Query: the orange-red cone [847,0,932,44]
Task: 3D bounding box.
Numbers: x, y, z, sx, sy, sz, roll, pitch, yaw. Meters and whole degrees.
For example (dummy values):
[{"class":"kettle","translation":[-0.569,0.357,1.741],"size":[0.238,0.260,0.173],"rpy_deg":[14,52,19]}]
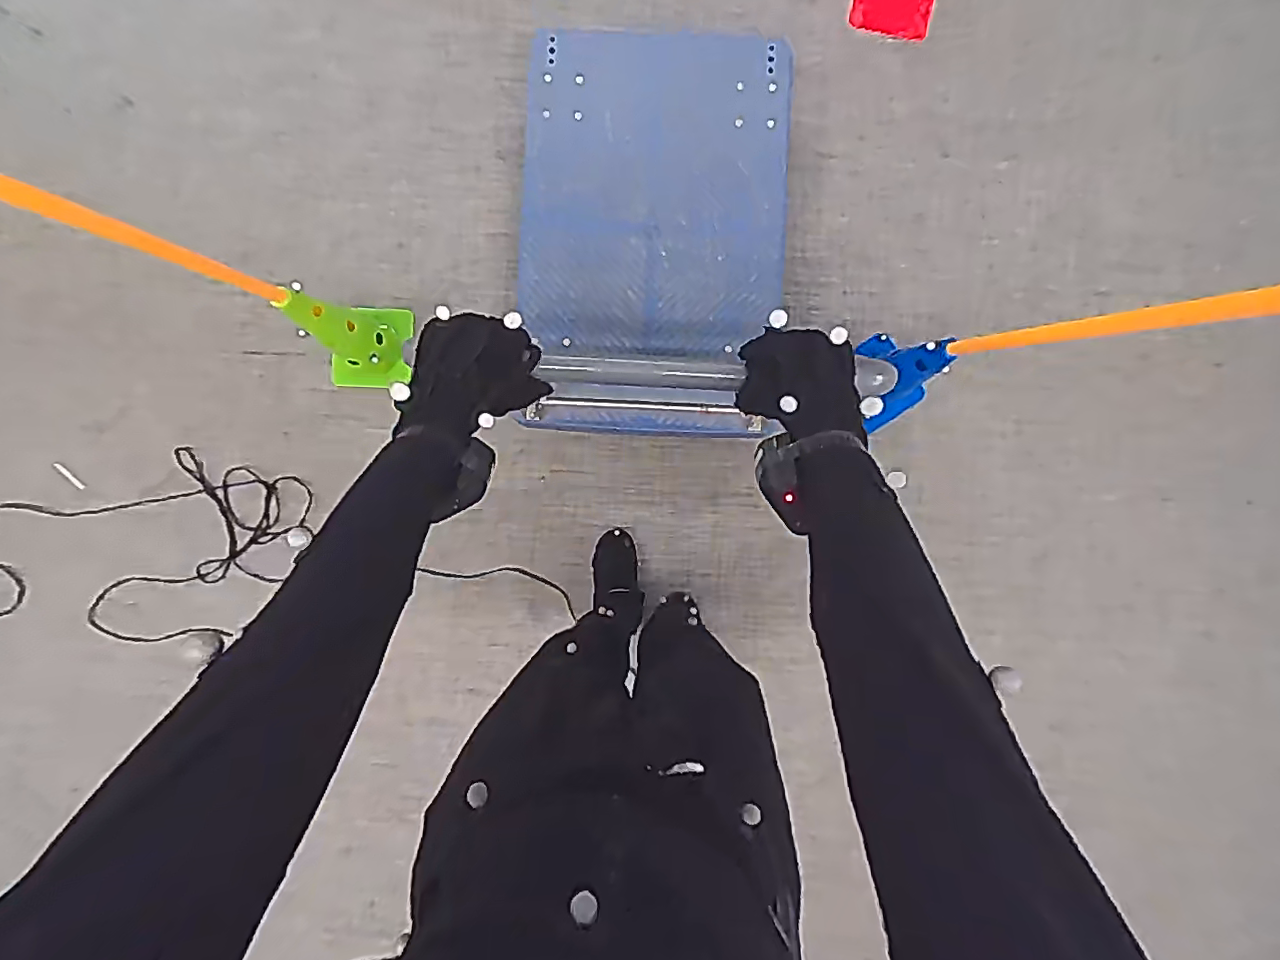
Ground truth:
[{"class":"orange-red cone","translation":[0.634,-1.215,1.197],"size":[0.198,0.360,0.199],"rpy_deg":[14,89,1]}]
